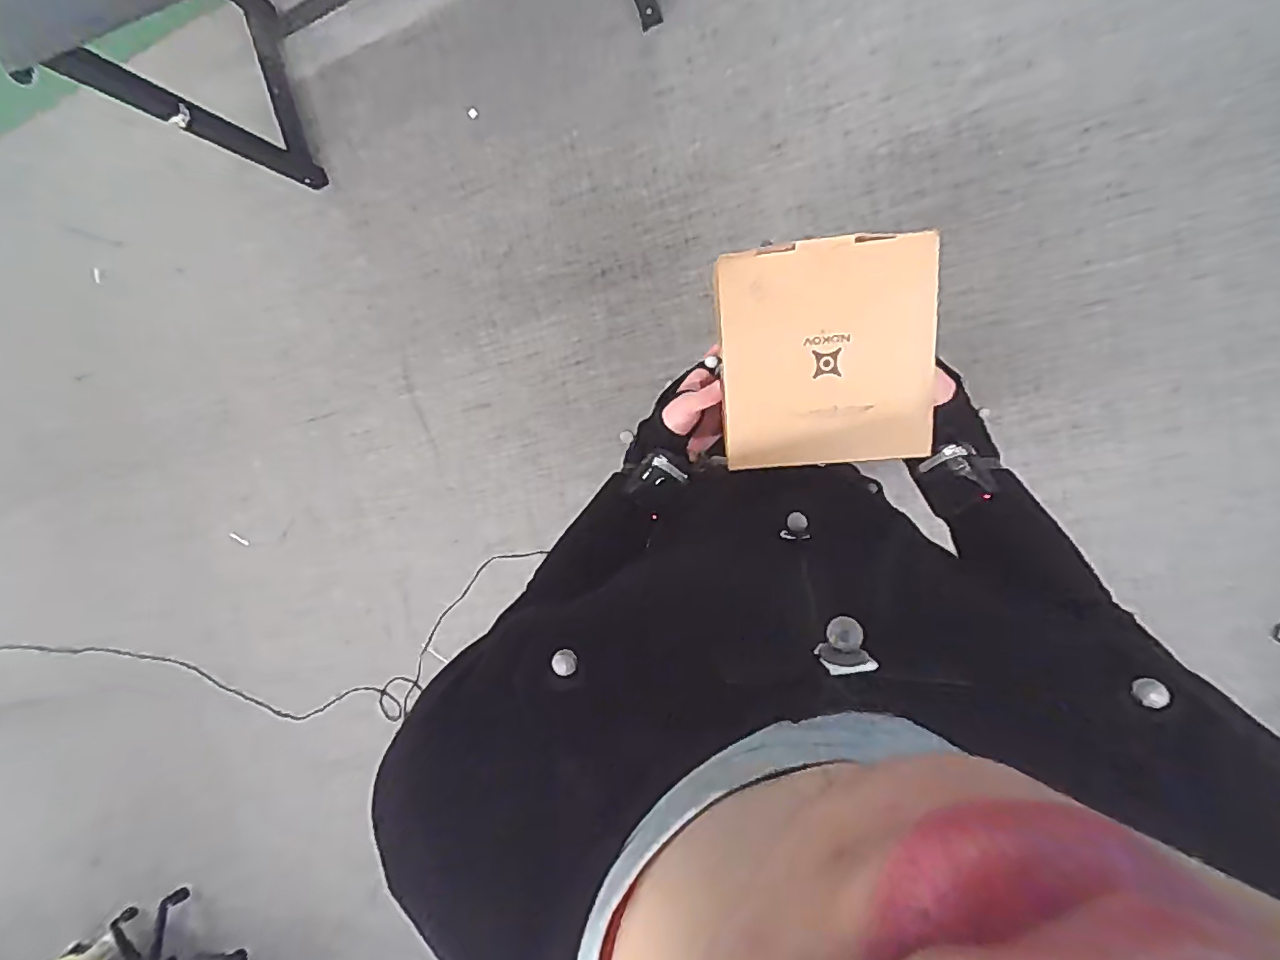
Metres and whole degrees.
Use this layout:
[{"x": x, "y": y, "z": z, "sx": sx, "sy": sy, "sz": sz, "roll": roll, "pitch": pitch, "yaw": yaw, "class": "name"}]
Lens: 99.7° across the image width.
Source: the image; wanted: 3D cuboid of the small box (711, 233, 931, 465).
[{"x": 0.153, "y": -0.119, "z": 0.511, "sx": 0.168, "sy": 0.176, "sz": 0.179, "roll": -2, "pitch": 106, "yaw": 8, "class": "small box"}]
